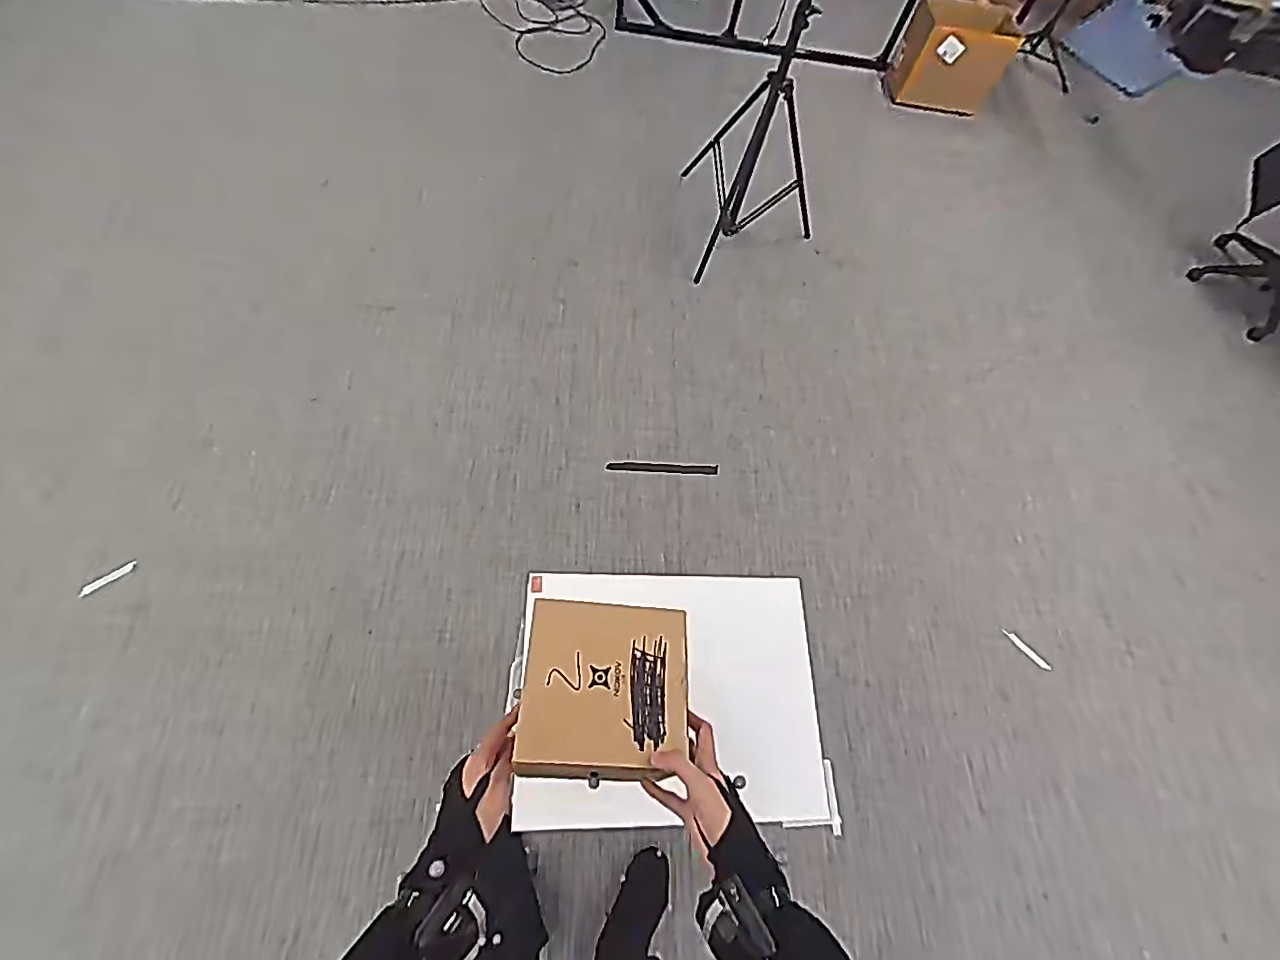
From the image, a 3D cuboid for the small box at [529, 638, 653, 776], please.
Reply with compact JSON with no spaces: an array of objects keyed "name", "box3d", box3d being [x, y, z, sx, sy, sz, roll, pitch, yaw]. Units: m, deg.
[{"name":"small box","box3d":[-0.072,0.341,0.818,0.168,0.176,0.179,3,65,-7]}]
